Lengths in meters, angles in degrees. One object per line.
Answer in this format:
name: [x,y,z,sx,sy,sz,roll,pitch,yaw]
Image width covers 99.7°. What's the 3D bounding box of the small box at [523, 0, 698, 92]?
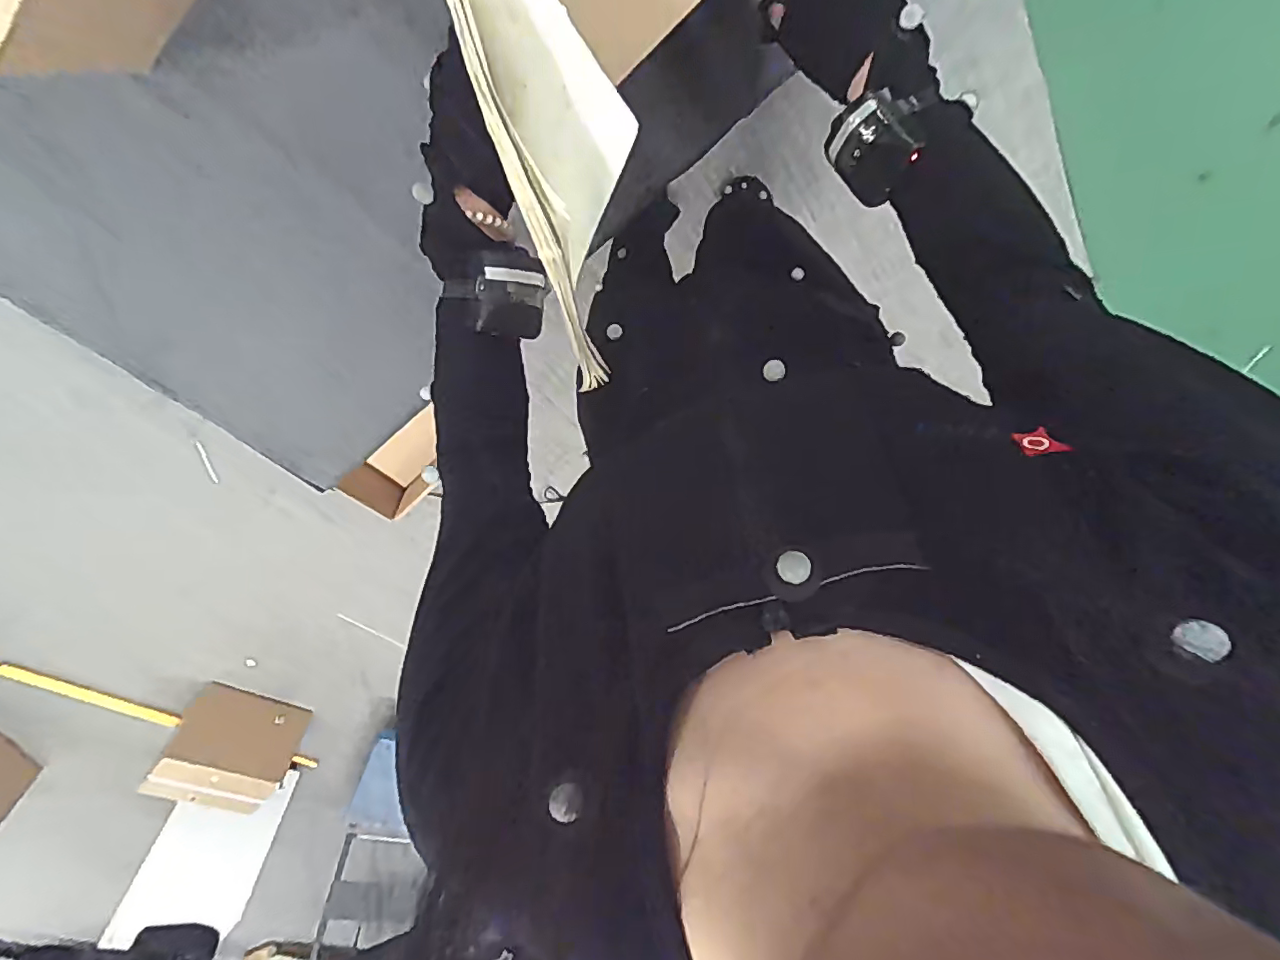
small box: [-0.018,-0.417,0.385,0.179,0.176,0.168,-34,121,15]
